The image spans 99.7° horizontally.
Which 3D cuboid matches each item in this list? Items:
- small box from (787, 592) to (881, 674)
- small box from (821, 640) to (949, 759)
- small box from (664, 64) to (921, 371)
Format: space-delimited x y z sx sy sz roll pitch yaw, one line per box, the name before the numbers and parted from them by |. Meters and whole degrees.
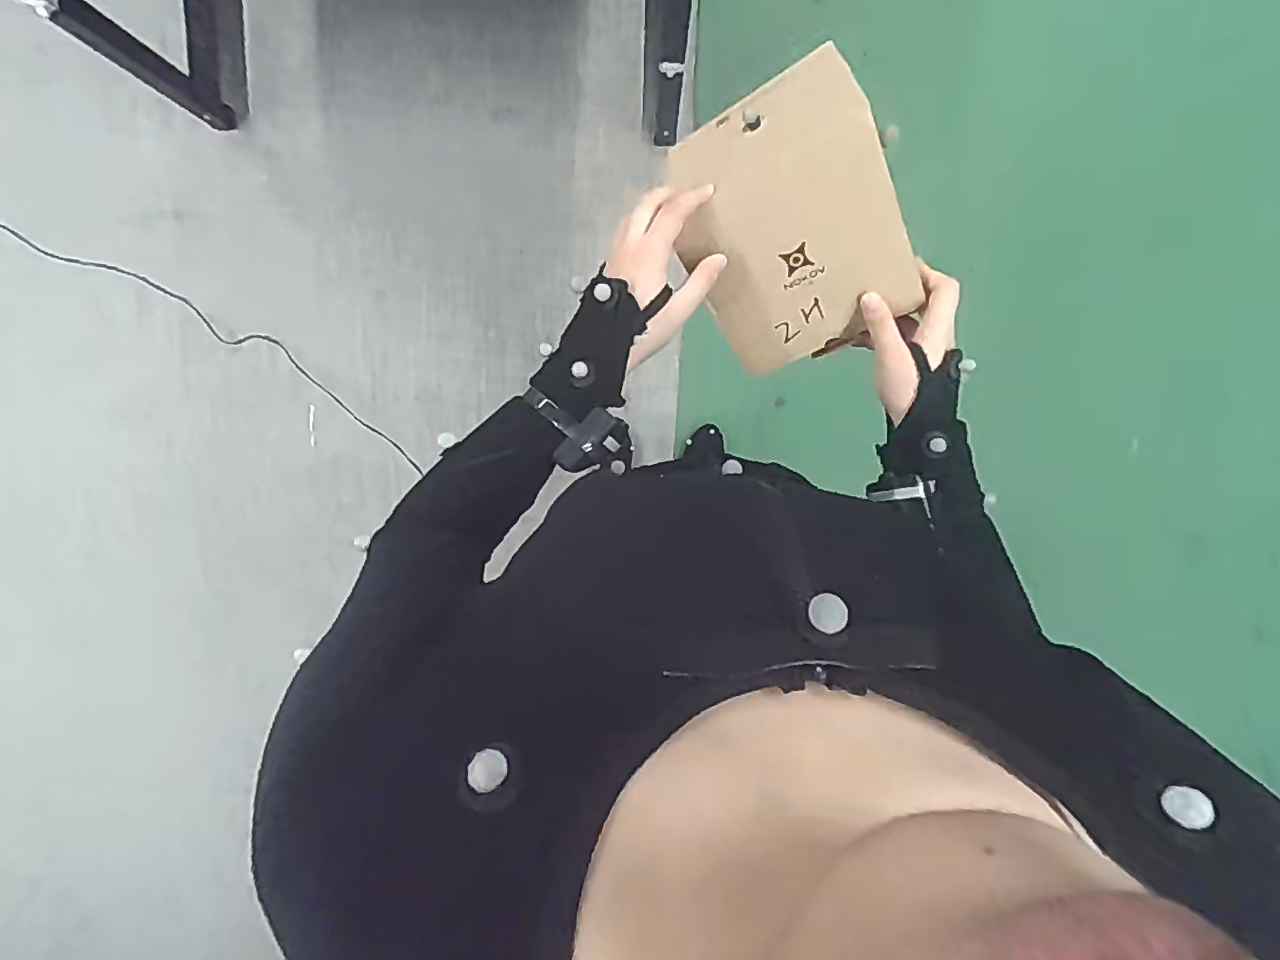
small box | 0.514 0.414 1.460 0.179 0.176 0.168 10 98 -1
small box | 0.503 0.452 1.133 0.179 0.176 0.168 6 99 -1
small box | 0.136 -0.242 0.502 0.168 0.176 0.179 -19 134 28
